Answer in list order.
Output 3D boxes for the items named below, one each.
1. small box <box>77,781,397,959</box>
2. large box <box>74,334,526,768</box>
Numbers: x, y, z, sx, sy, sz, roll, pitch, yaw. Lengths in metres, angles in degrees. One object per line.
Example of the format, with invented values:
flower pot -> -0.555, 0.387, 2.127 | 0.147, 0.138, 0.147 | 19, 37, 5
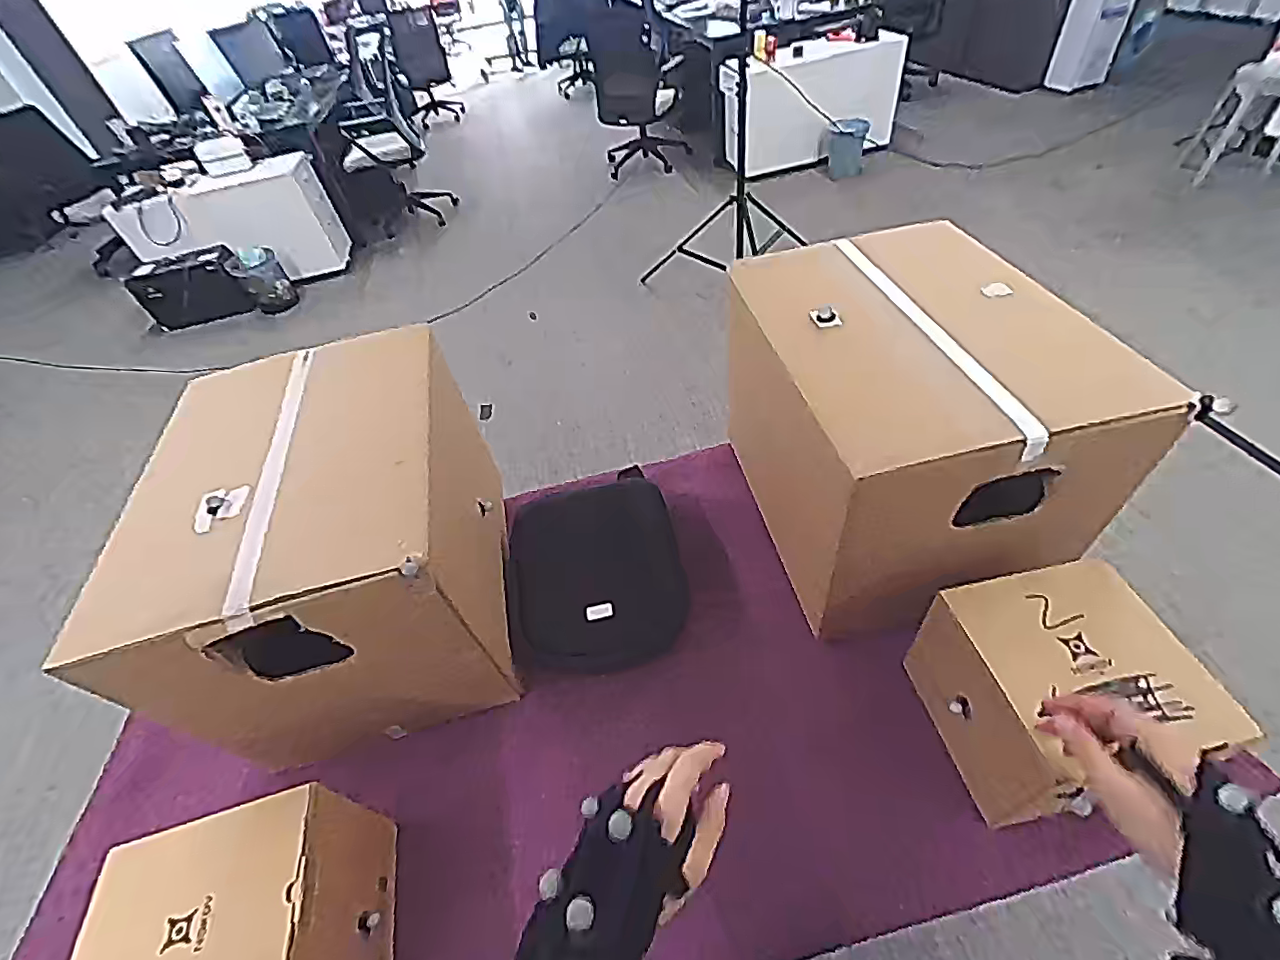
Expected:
small box -> -0.344, 0.406, 0.482 | 0.179, 0.176, 0.168 | -17, 46, -7
large box -> -0.356, 0.080, 0.694 | 0.320, 0.320, 0.408 | -17, 49, -5
